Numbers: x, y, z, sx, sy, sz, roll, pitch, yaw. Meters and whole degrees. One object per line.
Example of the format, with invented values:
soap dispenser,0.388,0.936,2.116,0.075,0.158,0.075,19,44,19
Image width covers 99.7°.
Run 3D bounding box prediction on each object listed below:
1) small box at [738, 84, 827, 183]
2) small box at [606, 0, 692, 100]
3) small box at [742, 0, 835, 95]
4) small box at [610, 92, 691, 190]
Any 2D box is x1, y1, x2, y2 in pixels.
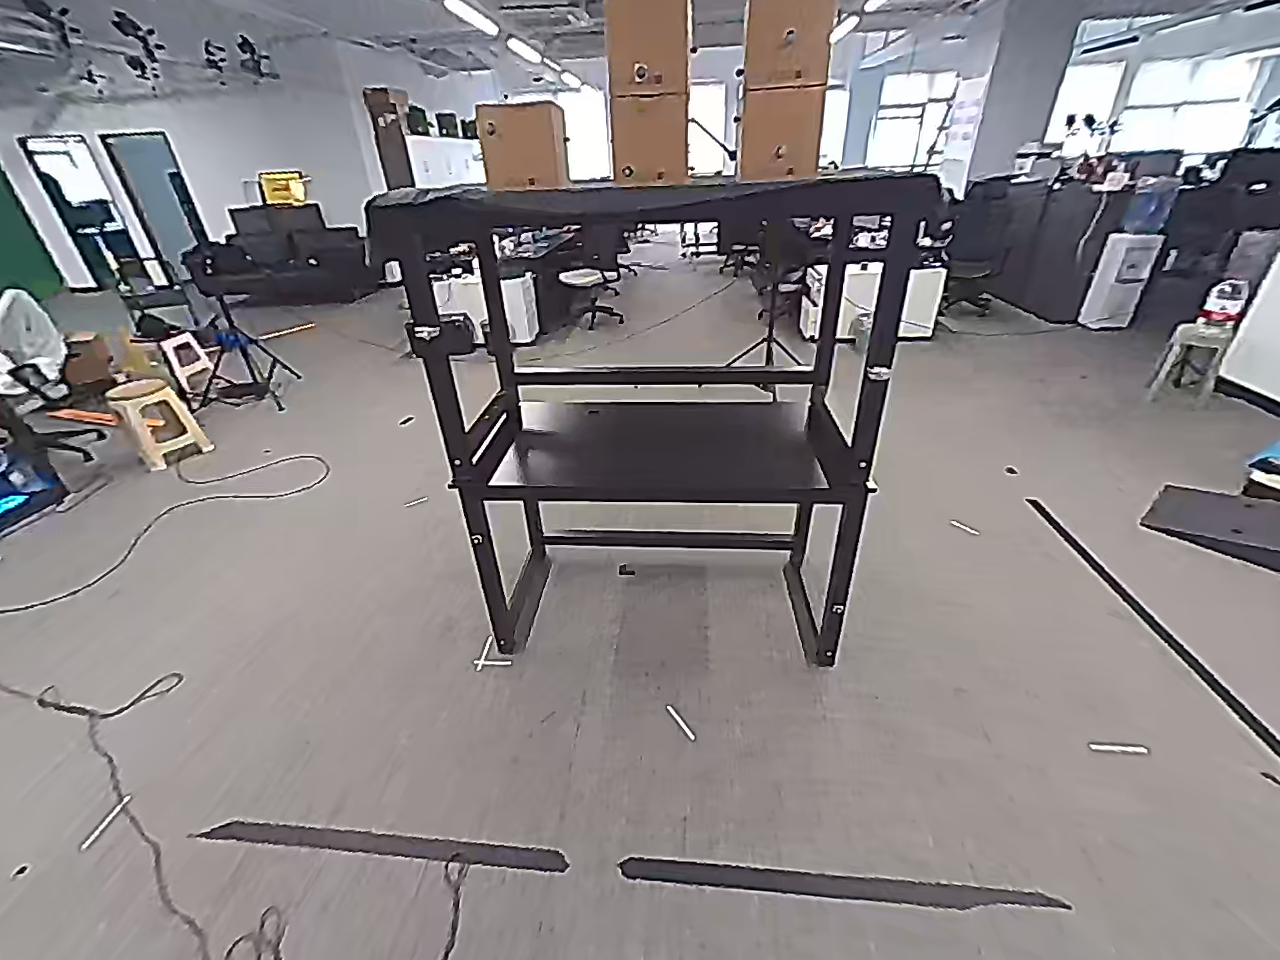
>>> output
small box,0.304,-0.753,1.188,0.168,0.176,0.179,0,30,7
small box,0.025,-0.896,1.135,0.168,0.176,0.179,0,30,7
small box,0.298,-0.895,1.107,0.168,0.176,0.179,1,31,7
small box,0.030,-0.754,1.214,0.168,0.176,0.179,1,29,5
